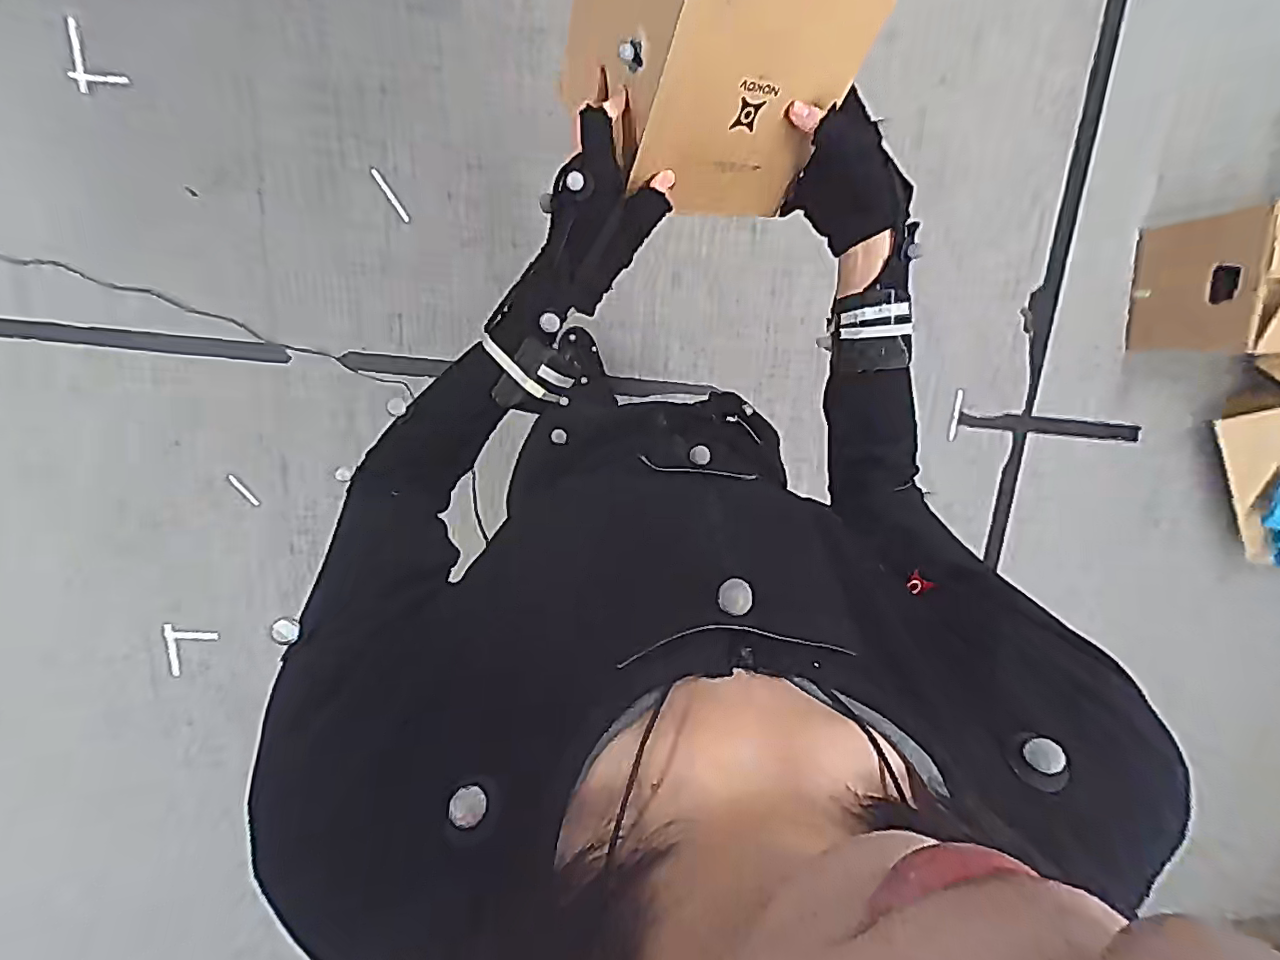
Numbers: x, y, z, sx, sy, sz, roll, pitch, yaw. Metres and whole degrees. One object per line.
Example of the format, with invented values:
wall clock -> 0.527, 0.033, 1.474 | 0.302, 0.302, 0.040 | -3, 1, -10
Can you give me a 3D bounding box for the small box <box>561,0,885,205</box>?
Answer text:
small box -> 0.048, -0.352, 0.428 | 0.168, 0.179, 0.176 | -11, 65, -25
